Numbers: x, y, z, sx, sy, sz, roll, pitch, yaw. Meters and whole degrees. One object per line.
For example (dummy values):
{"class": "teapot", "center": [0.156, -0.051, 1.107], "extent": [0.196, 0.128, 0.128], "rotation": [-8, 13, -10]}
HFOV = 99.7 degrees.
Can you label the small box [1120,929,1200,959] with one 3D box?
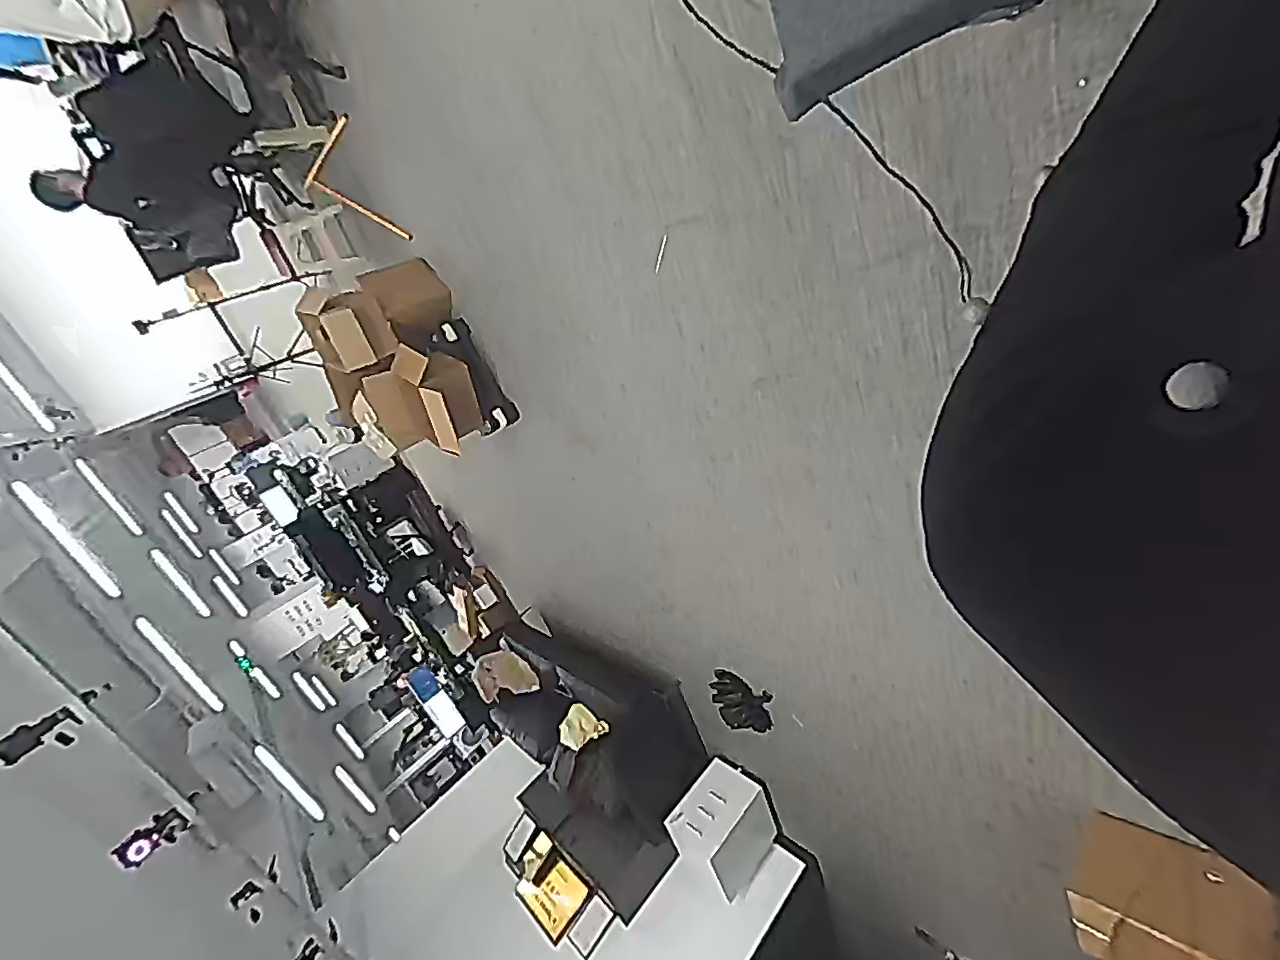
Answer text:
{"class": "small box", "center": [1.418, 1.373, 1.459], "extent": [0.179, 0.176, 0.168], "rotation": [5, 123, 50]}
